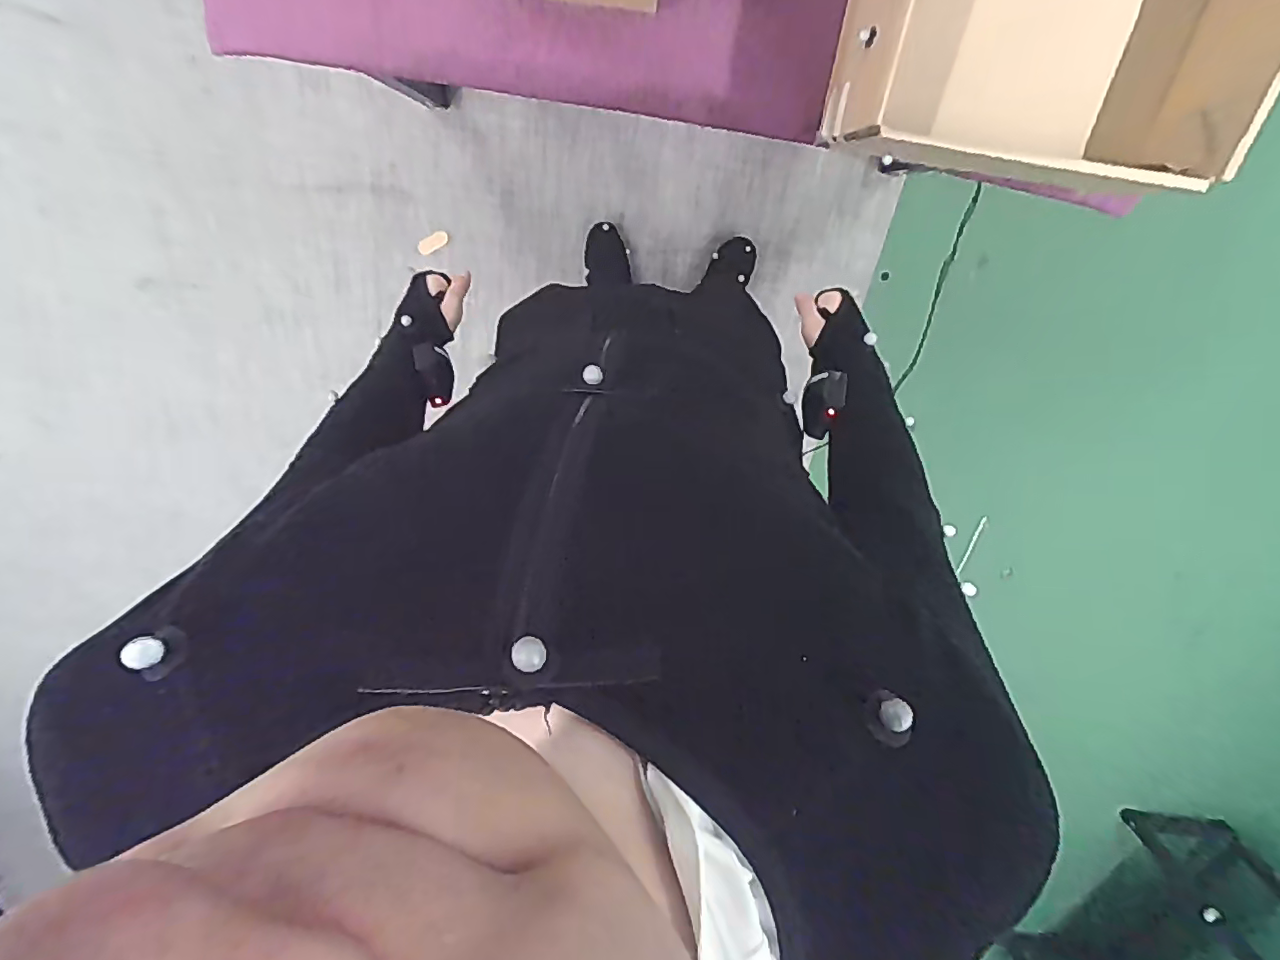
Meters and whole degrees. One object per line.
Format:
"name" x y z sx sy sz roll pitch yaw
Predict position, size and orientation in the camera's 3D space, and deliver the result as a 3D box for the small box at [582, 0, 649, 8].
"small box" -0.059 -0.605 0.534 0.179 0.176 0.168 3 115 -5
